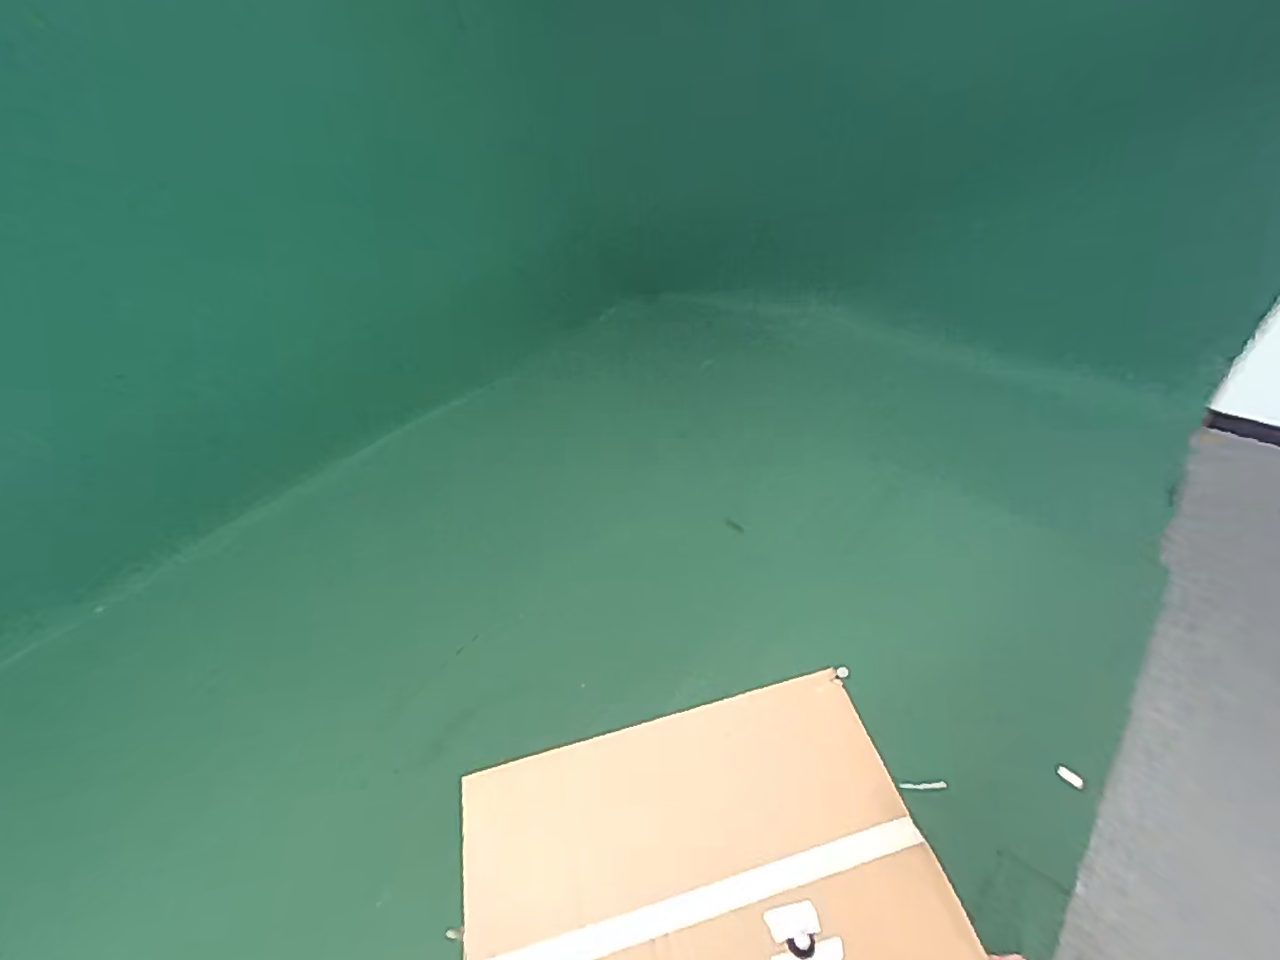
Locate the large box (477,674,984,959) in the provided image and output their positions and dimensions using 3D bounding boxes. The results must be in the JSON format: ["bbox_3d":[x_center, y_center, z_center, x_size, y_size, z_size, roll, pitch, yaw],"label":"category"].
[{"bbox_3d":[0.071,0.466,0.579,0.408,0.320,0.320,-13,48,-7],"label":"large box"}]
